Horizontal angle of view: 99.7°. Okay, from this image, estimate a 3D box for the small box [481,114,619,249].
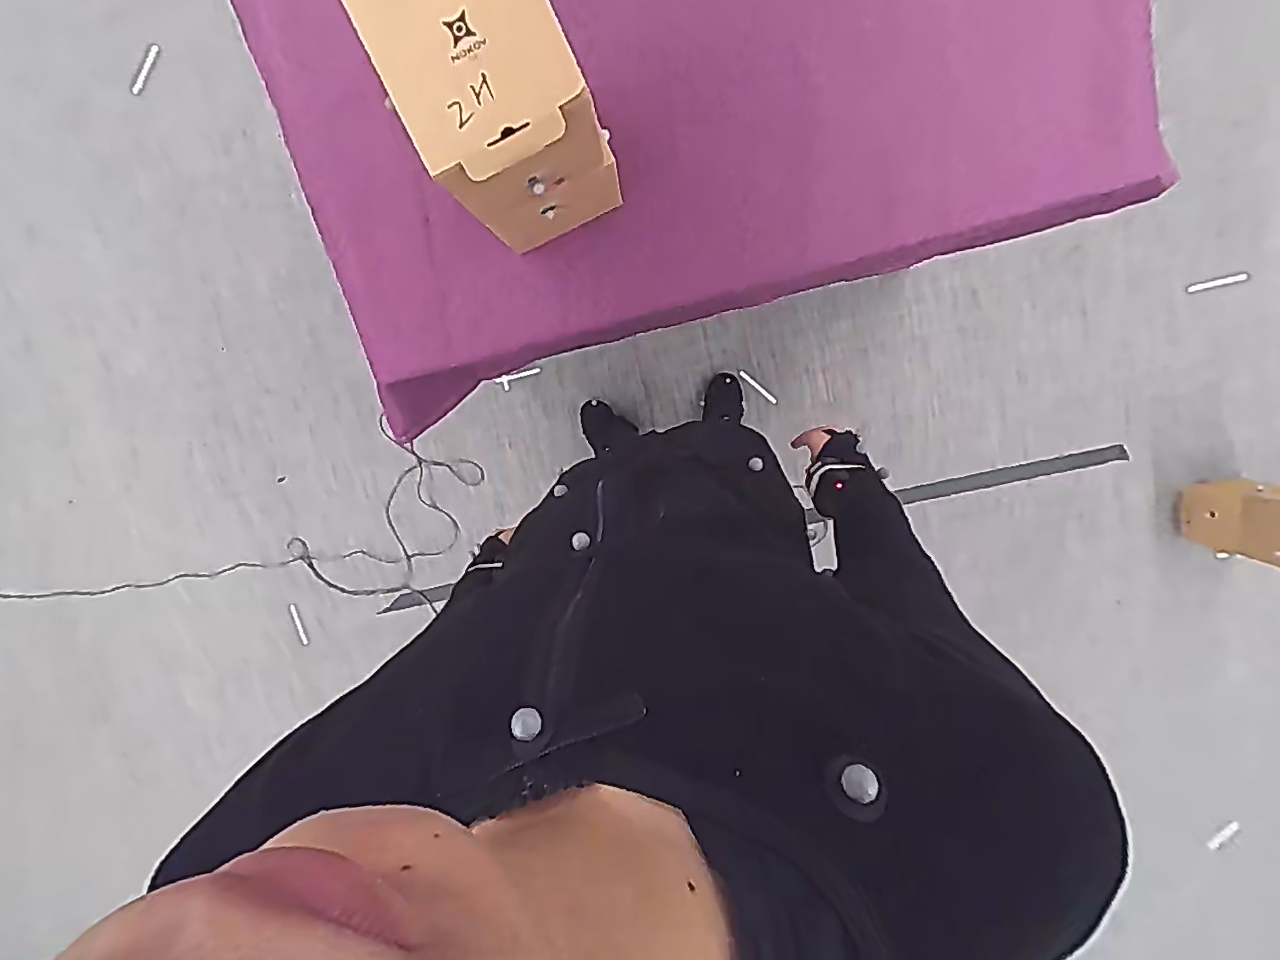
[{"bbox_3d":[-0.140,-0.433,0.719,0.179,0.176,0.168,-24,100,5],"label":"small box"}]

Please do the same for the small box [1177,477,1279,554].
[{"bbox_3d":[1.679,0.096,1.527,0.179,0.176,0.168,-9,101,3],"label":"small box"}]

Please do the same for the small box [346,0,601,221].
[{"bbox_3d":[-0.153,-0.403,0.557,0.168,0.176,0.179,-25,100,6],"label":"small box"}]
